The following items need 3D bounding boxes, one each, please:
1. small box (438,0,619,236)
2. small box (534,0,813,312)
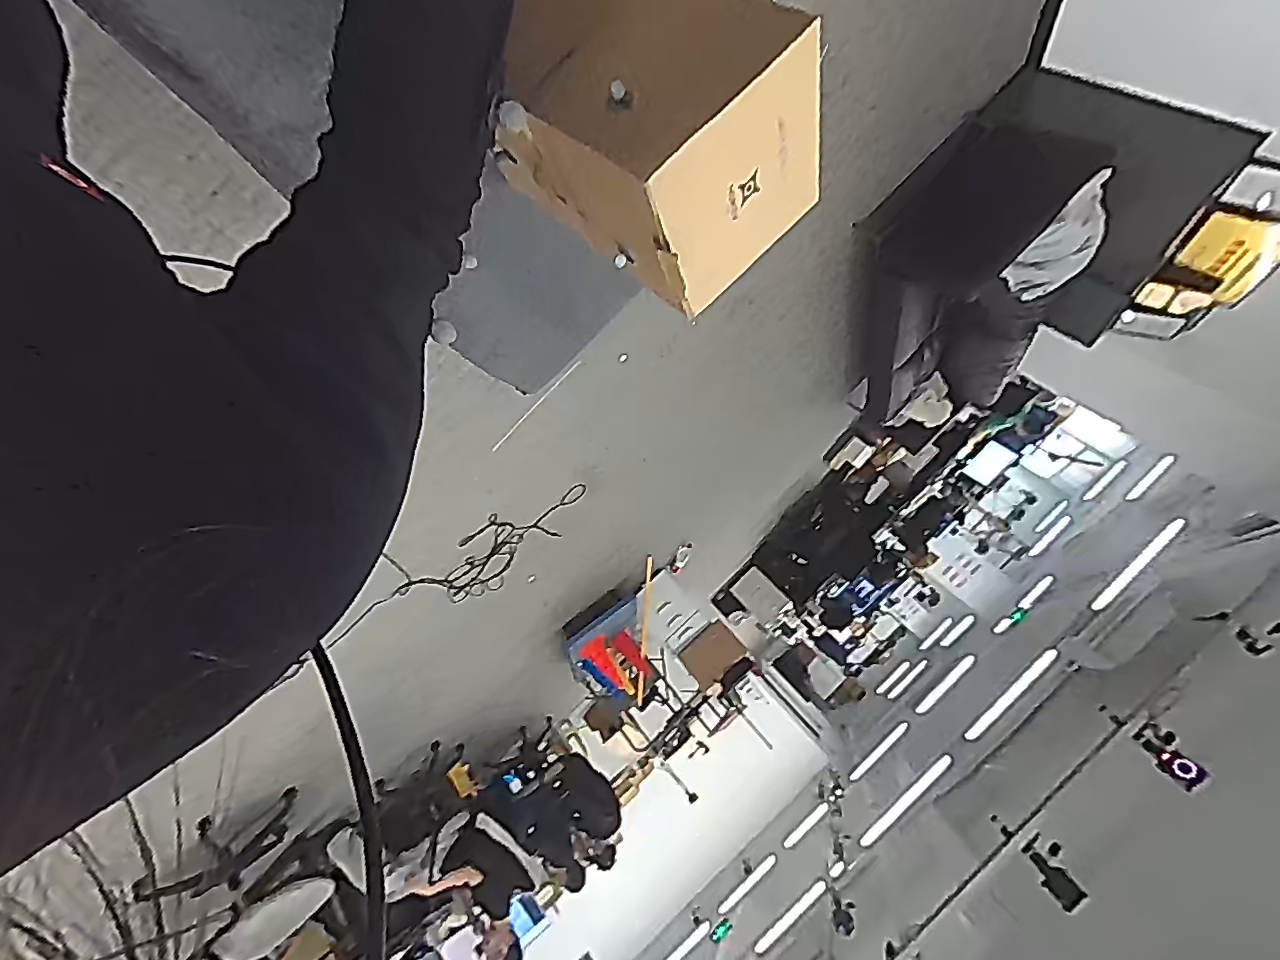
[{"bbox_3d":[-0.076,-0.399,0.550,0.179,0.176,0.168,-46,154,1],"label":"small box"},{"bbox_3d":[0.030,-0.295,0.483,0.179,0.176,0.168,-46,154,-2],"label":"small box"}]
